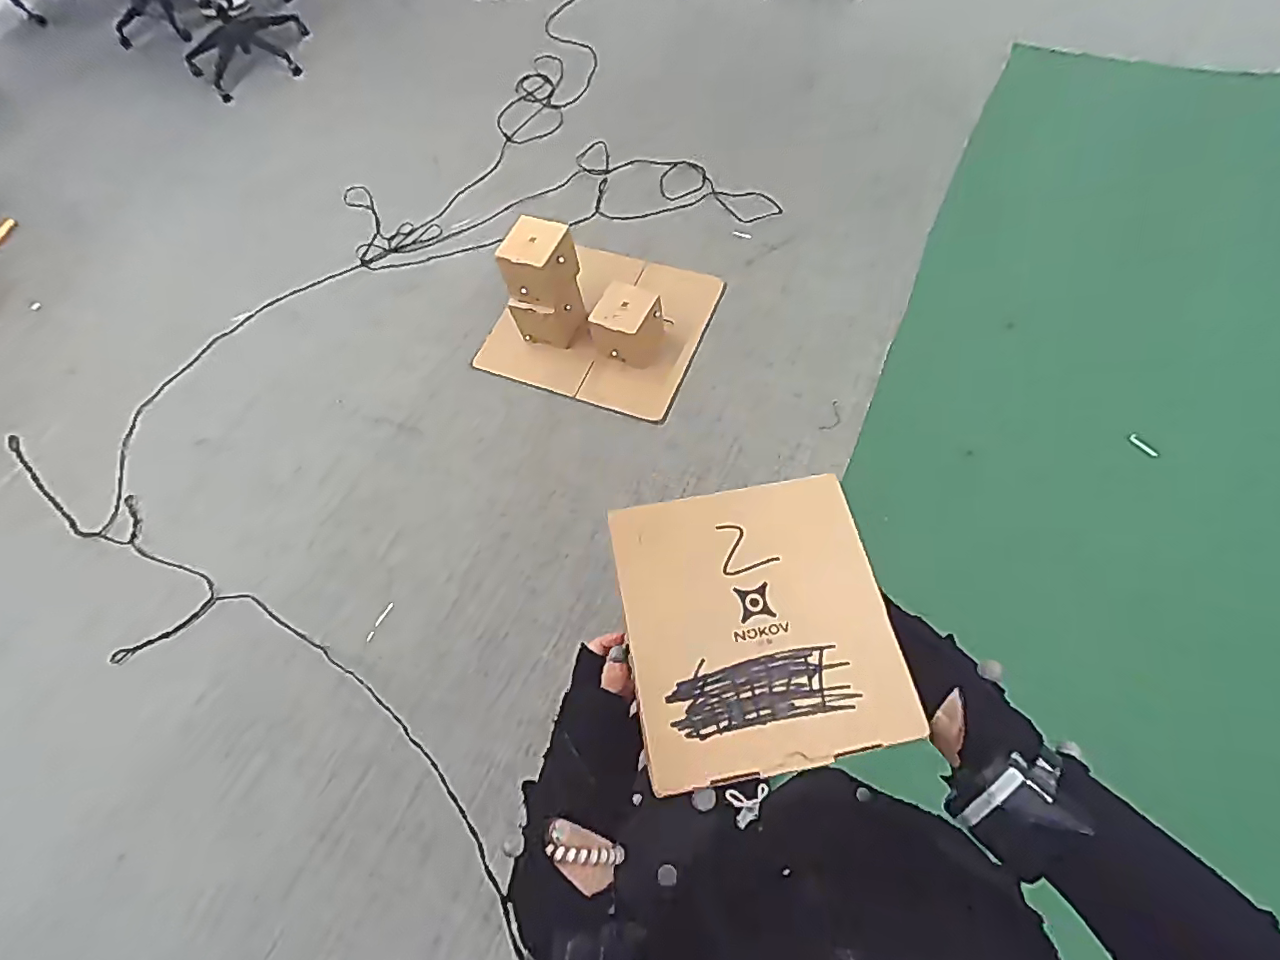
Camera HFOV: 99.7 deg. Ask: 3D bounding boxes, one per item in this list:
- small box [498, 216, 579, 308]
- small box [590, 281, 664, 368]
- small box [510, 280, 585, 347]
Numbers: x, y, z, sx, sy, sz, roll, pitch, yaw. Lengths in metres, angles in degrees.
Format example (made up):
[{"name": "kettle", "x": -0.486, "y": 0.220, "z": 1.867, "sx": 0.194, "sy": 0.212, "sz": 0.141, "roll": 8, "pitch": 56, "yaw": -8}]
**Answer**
[{"name": "small box", "x": -0.297, "y": -0.657, "z": 1.639, "sx": 0.168, "sy": 0.176, "sz": 0.179, "roll": 19, "pitch": 69, "yaw": 15}, {"name": "small box", "x": -0.033, "y": -0.490, "z": 1.711, "sx": 0.168, "sy": 0.176, "sz": 0.179, "roll": 23, "pitch": 70, "yaw": 18}, {"name": "small box", "x": -0.294, "y": -0.565, "z": 1.777, "sx": 0.168, "sy": 0.176, "sz": 0.179, "roll": 17, "pitch": 68, "yaw": 14}]
